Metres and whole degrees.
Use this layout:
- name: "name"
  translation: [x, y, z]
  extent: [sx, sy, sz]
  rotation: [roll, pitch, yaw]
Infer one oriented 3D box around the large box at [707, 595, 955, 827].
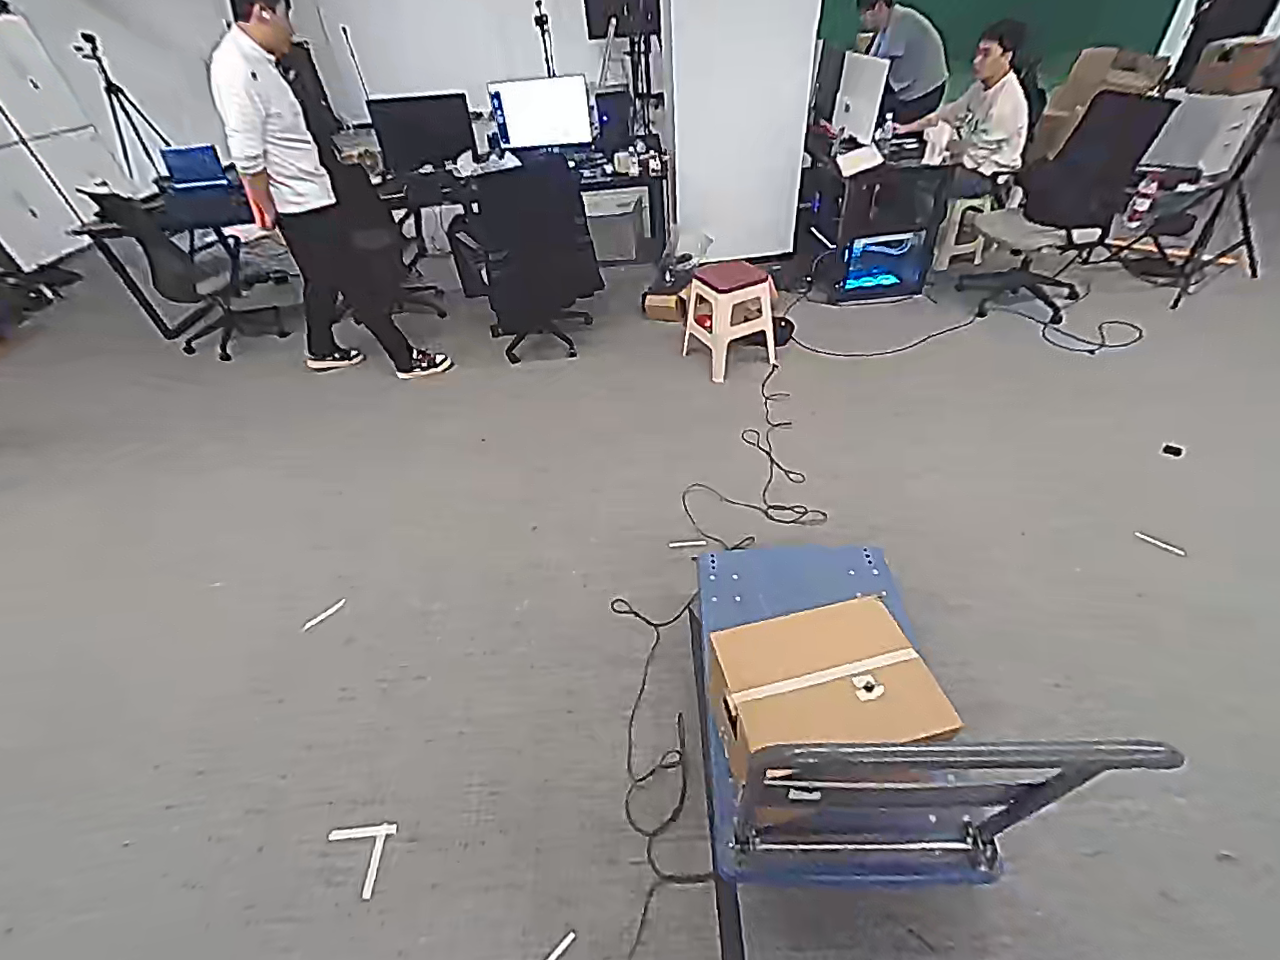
- name: "large box"
  translation: [0.388, 0.512, 1.211]
  extent: [0.408, 0.320, 0.320]
  rotation: [-11, 43, -7]
